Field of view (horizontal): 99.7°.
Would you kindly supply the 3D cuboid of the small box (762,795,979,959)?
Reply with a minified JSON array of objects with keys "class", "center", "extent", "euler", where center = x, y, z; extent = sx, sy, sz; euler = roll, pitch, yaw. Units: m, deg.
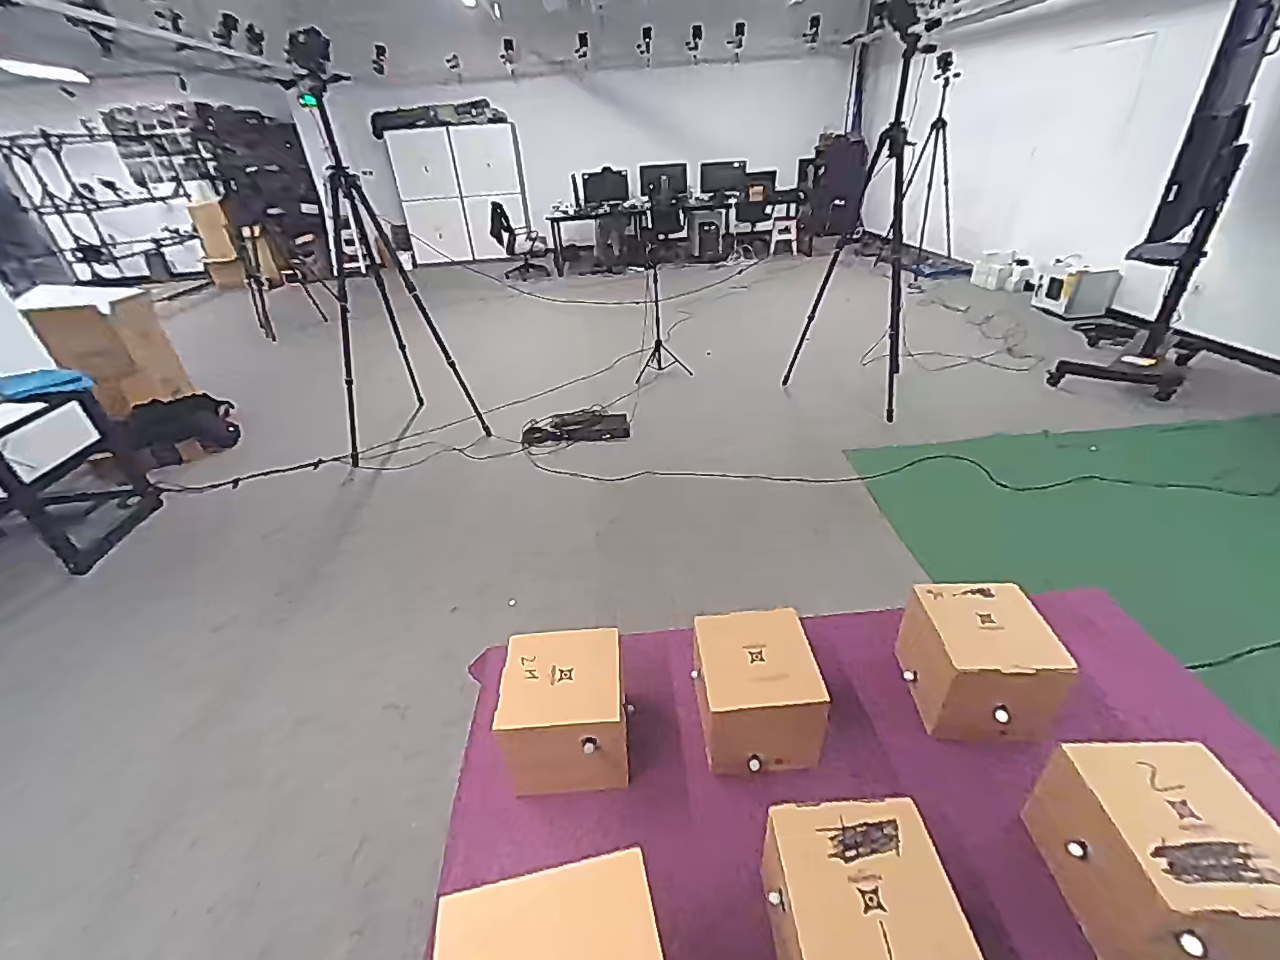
[{"class":"small box","center":[0.233,0.479,0.590],"extent":[0.168,0.176,0.179],"euler":[-5,33,1]}]

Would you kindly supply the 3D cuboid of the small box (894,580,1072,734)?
[{"class":"small box","center":[0.528,0.282,0.863],"extent":[0.168,0.176,0.179],"euler":[-1,33,5]}]

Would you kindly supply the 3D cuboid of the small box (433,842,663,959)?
[{"class":"small box","center":[-0.061,0.424,0.405],"extent":[0.168,0.176,0.179],"euler":[-8,28,-9]}]

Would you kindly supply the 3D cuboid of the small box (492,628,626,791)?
[{"class":"small box","center":[-0.112,0.354,0.837],"extent":[0.179,0.176,0.168],"euler":[-5,32,0]}]
